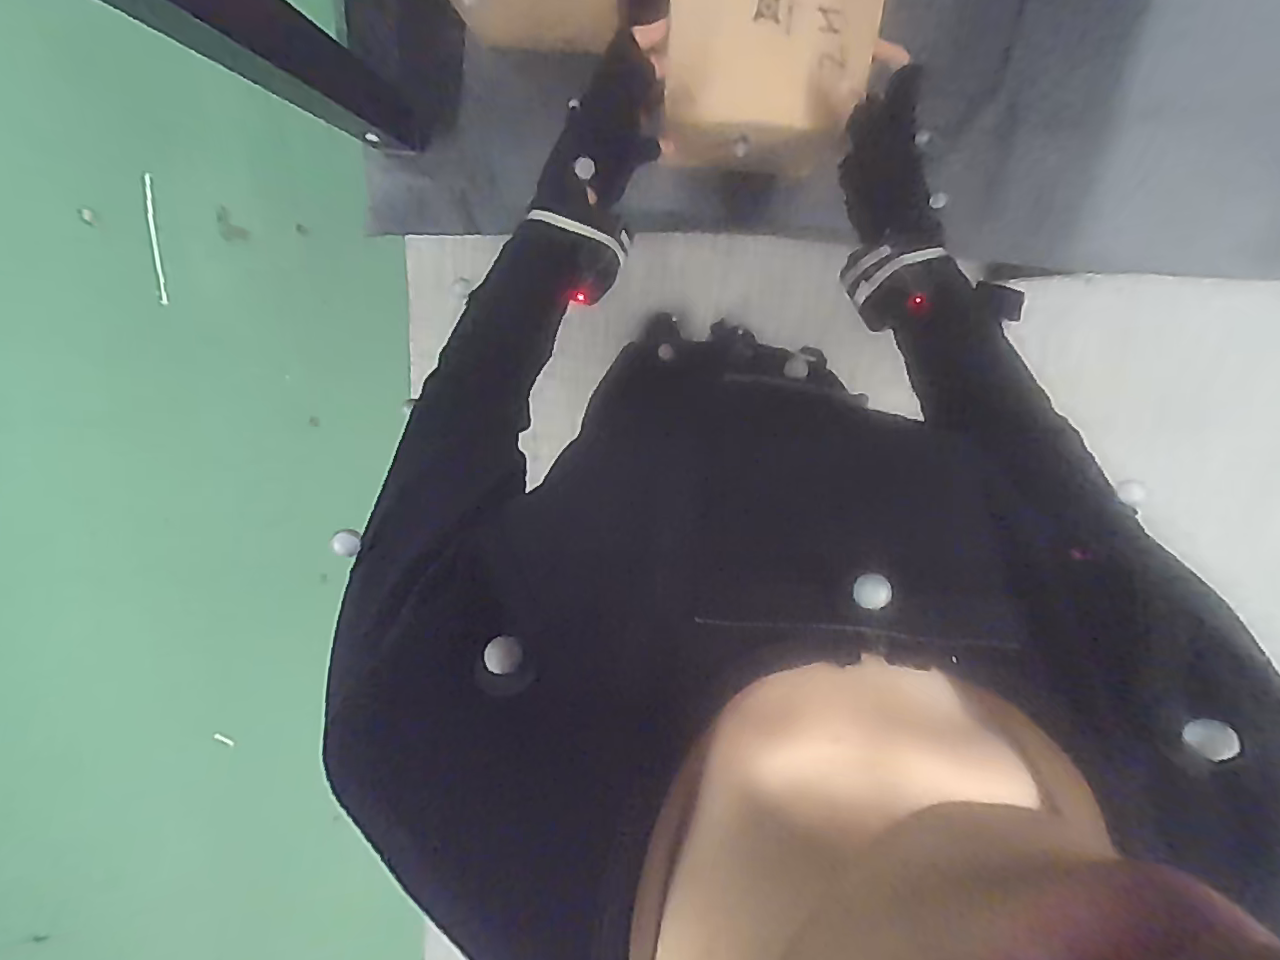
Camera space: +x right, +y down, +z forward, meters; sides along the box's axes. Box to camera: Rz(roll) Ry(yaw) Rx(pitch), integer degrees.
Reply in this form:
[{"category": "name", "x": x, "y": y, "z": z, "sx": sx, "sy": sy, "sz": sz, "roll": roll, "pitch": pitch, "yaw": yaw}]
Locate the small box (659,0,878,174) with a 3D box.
[{"category": "small box", "x": 0.112, "y": -0.414, "z": 0.531, "sx": 0.179, "sy": 0.176, "sz": 0.168, "roll": 4, "pitch": 108, "yaw": -1}]
